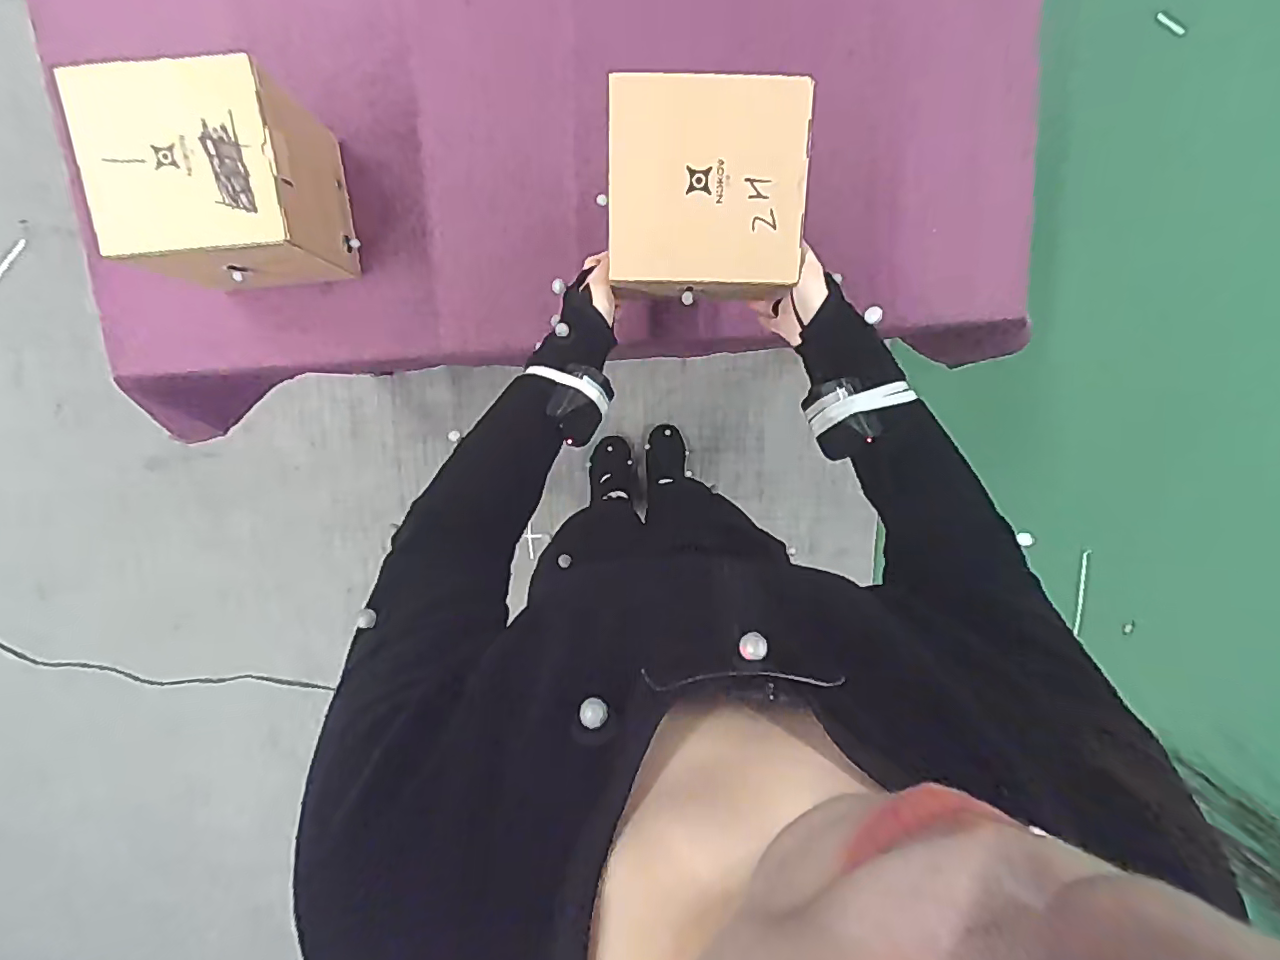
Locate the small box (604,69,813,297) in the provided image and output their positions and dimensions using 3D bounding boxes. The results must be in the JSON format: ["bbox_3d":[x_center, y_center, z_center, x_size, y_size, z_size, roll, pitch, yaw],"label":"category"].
[{"bbox_3d":[0.056,-0.280,0.548,0.179,0.176,0.168,1,104,-1],"label":"small box"}]

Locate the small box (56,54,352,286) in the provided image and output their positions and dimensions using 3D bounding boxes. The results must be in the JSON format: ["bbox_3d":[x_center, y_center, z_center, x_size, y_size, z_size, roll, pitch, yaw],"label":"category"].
[{"bbox_3d":[-0.437,-0.314,0.582,0.179,0.176,0.168,-6,100,-1],"label":"small box"}]
